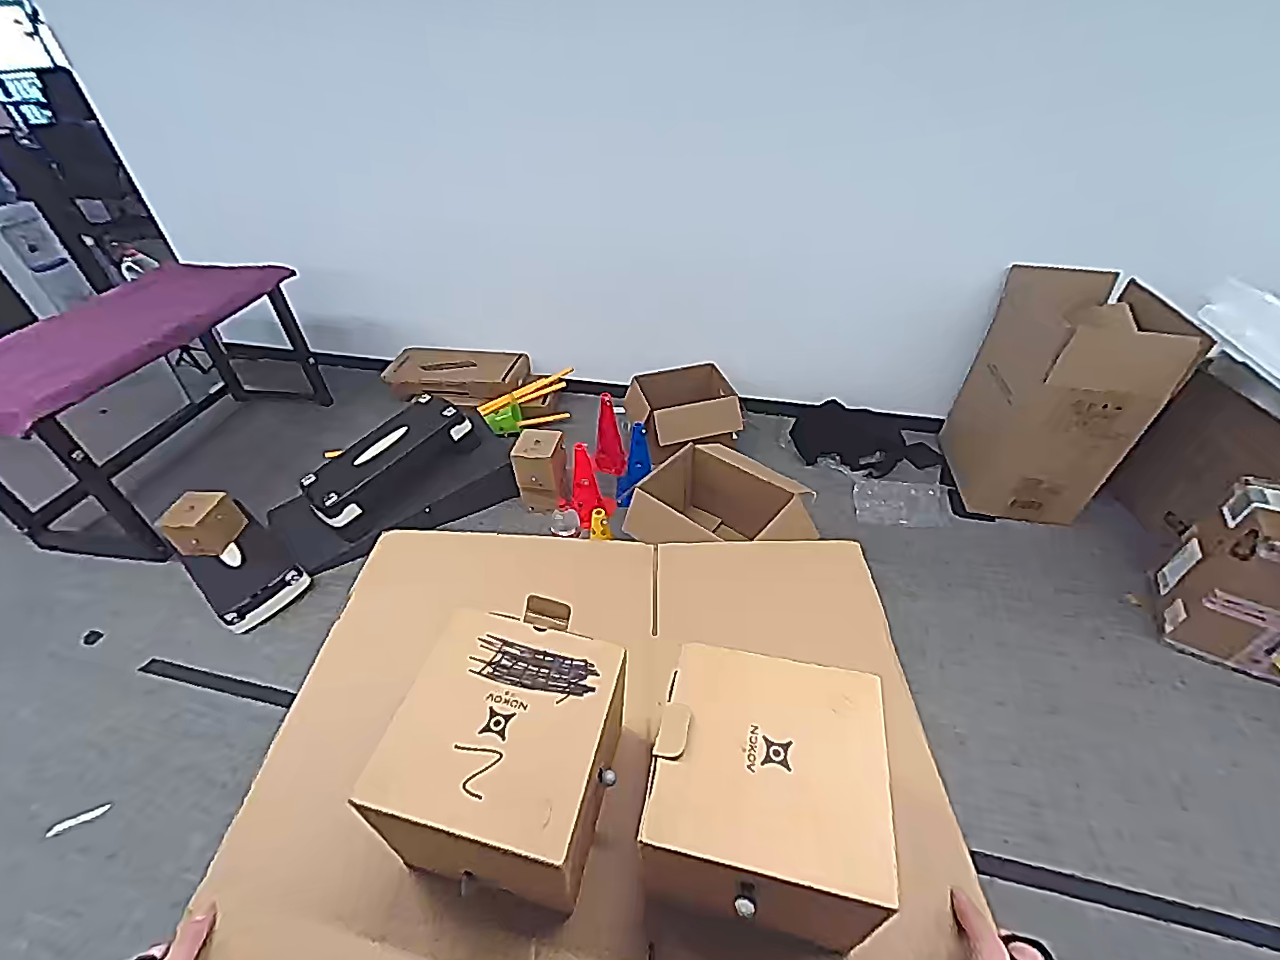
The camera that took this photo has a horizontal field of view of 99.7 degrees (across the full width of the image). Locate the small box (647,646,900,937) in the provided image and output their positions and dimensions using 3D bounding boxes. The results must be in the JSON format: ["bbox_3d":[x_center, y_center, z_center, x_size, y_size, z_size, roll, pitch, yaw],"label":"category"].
[{"bbox_3d":[0.114,0.278,0.485,0.179,0.176,0.168,5,43,14],"label":"small box"}]
